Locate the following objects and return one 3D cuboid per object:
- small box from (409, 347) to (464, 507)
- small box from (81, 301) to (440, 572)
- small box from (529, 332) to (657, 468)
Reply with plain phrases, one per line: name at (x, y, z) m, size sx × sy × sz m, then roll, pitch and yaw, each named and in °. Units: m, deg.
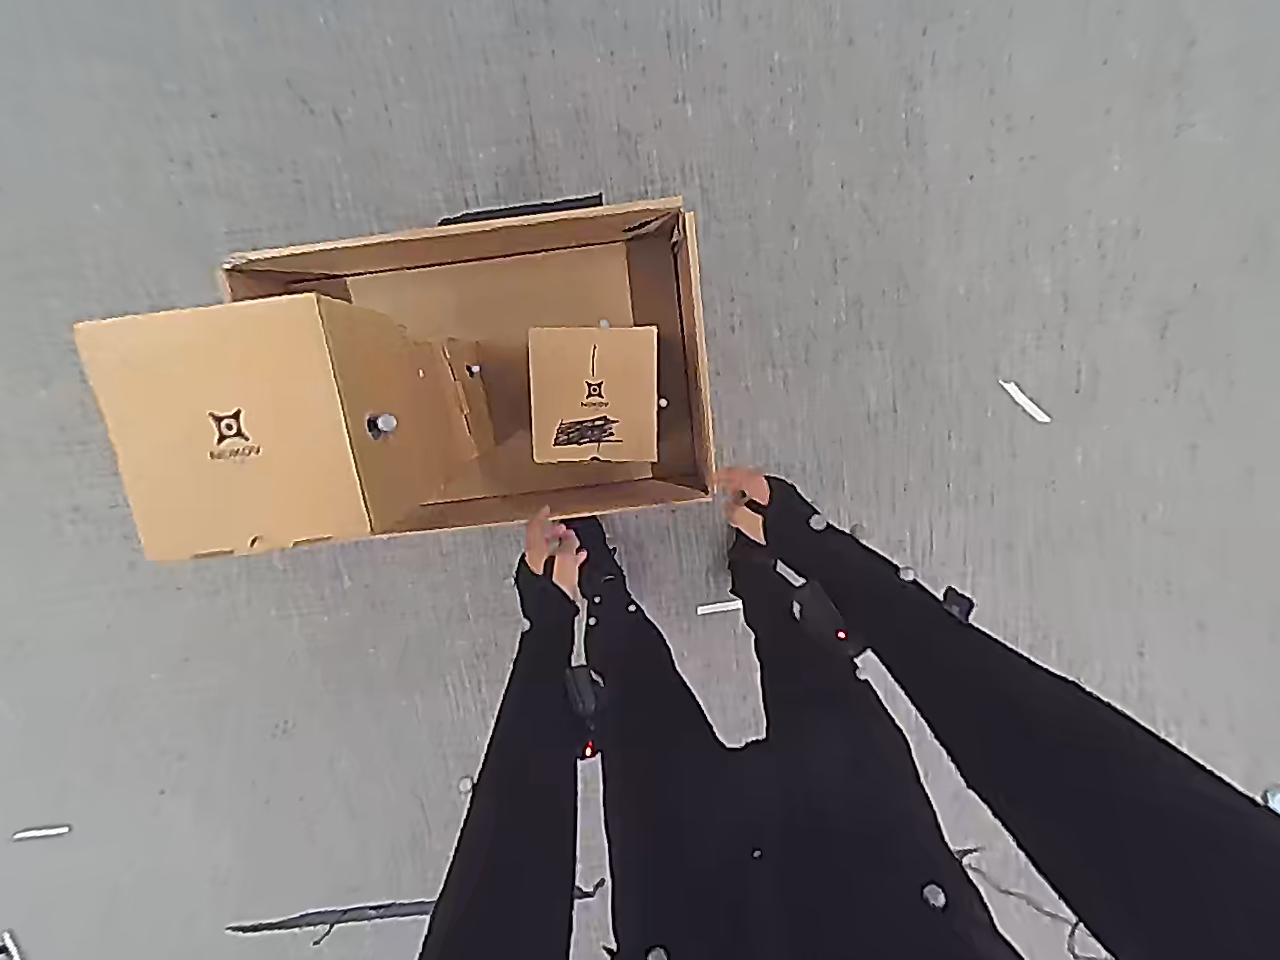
small box at (-0.320, -0.056, 0.620) m, size 0.168 × 0.176 × 0.179 m, roll -11°, pitch 102°, yaw -1°
small box at (-0.288, -0.042, 0.458) m, size 0.168 × 0.176 × 0.179 m, roll -8°, pitch 102°, yaw -2°
small box at (-0.059, -0.119, 0.775) m, size 0.168 × 0.176 × 0.179 m, roll 0°, pitch 102°, yaw 0°
